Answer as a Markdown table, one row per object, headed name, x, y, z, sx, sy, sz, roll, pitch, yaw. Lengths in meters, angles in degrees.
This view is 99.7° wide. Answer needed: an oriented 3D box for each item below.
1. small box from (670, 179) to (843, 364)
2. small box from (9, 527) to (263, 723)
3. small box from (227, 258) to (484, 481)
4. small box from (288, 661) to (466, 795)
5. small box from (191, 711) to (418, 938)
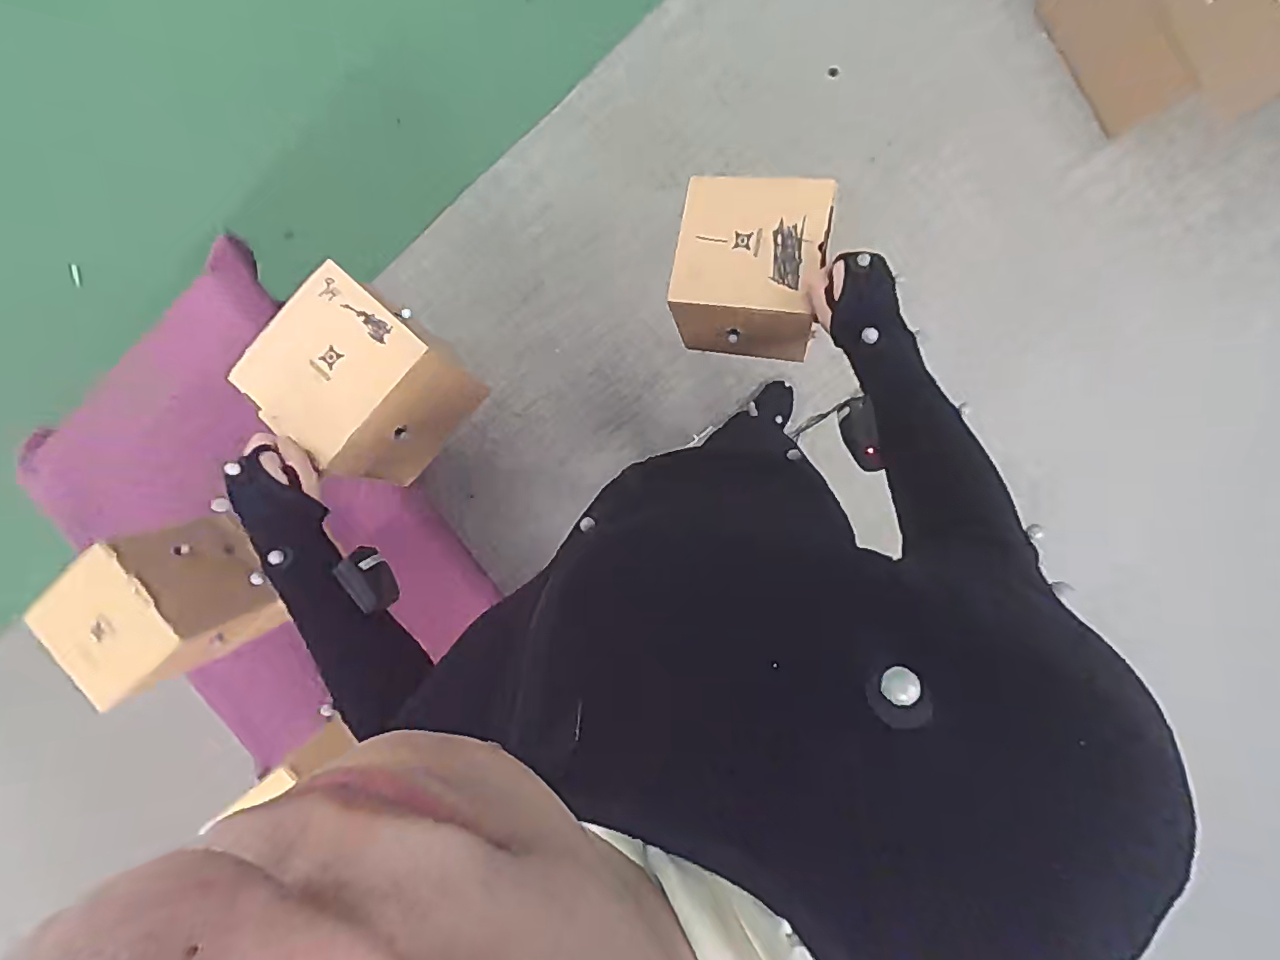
| name | x | y | z | sx | sy | sz | roll | pitch | yaw |
| --- | --- | --- | --- | --- | --- | --- | --- | --- | --- |
| small box | 0.151 | -0.261 | 0.707 | 0.179 | 0.176 | 0.168 | 10 | 86 | 14 |
| small box | -0.678 | 0.187 | 0.753 | 0.179 | 0.176 | 0.168 | -38 | 91 | 11 |
| small box | -0.323 | -0.116 | 0.649 | 0.168 | 0.176 | 0.179 | 42 | 90 | 9 |
| small box | -0.436 | 0.449 | 0.924 | 0.179 | 0.176 | 0.168 | -37 | 92 | 10 |
| small box | -0.458 | 0.471 | 0.765 | 0.179 | 0.176 | 0.168 | -39 | 91 | 10 |
